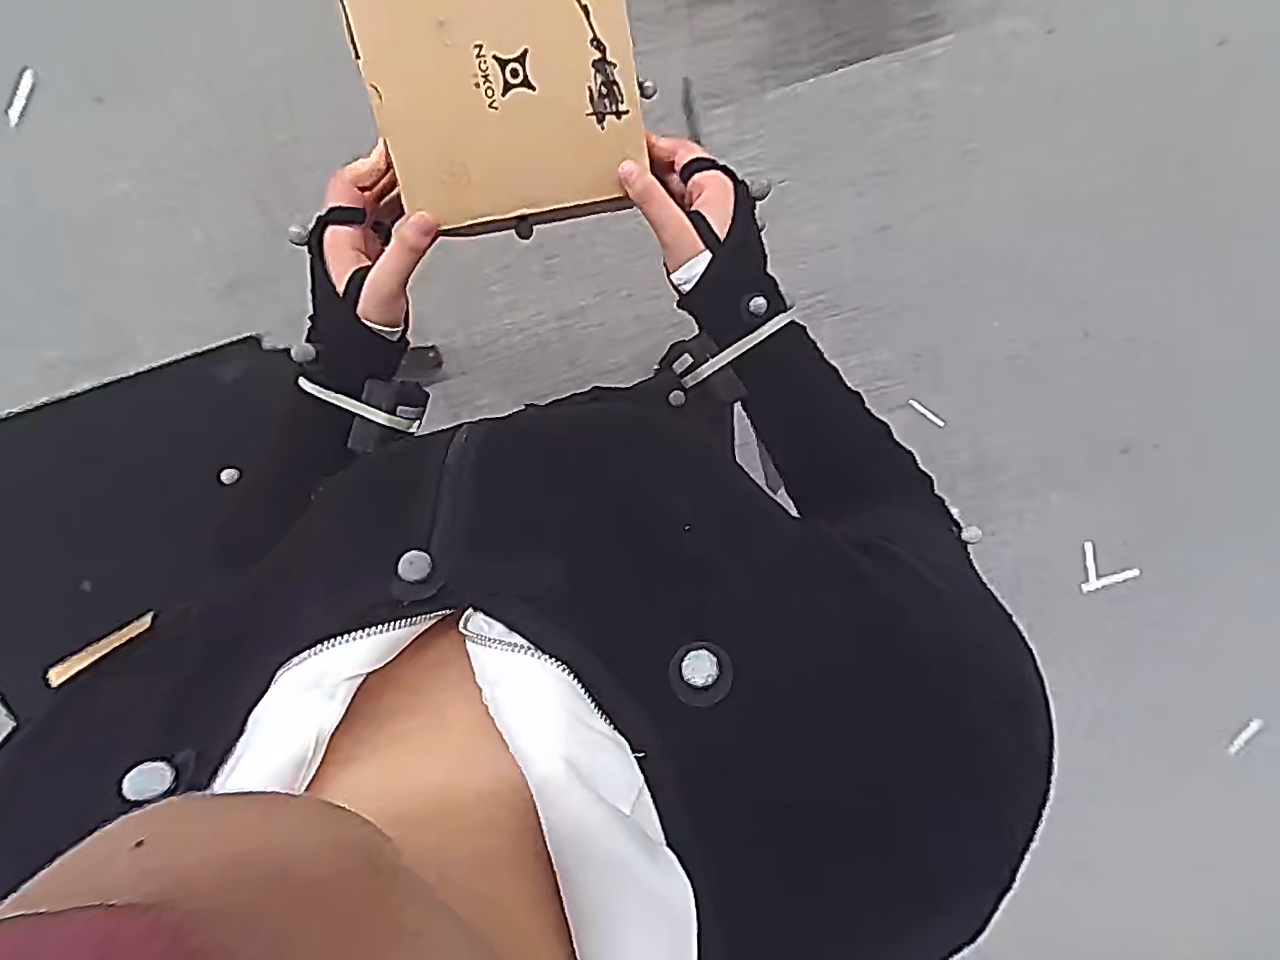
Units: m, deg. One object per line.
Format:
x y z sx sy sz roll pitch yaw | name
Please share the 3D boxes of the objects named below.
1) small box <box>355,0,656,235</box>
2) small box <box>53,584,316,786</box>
-0.088 -0.295 0.426 0.179 0.176 0.168 -9 113 0 | small box
-0.583 0.257 0.721 0.168 0.176 0.179 -17 104 4 | small box
